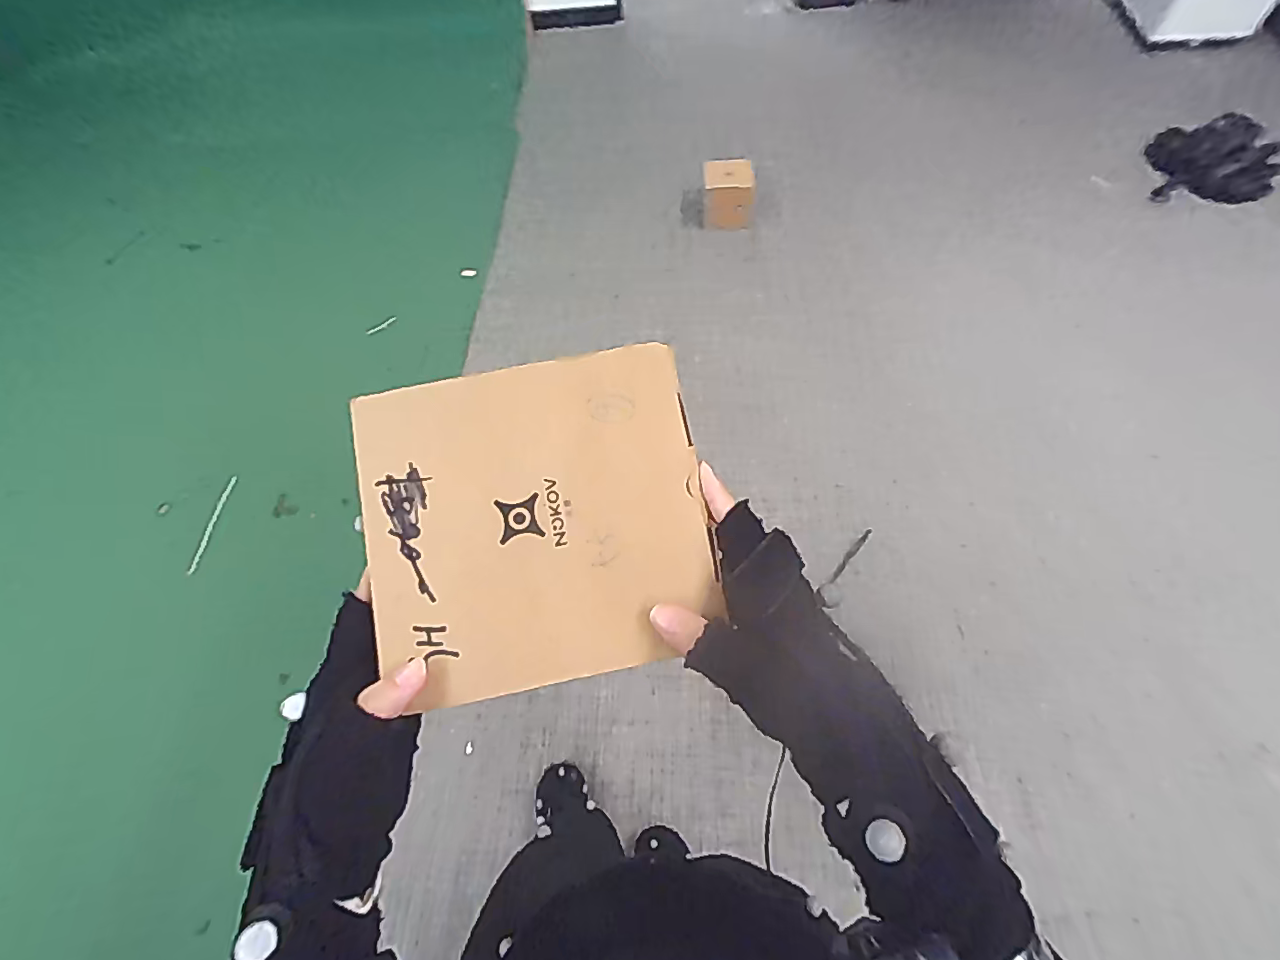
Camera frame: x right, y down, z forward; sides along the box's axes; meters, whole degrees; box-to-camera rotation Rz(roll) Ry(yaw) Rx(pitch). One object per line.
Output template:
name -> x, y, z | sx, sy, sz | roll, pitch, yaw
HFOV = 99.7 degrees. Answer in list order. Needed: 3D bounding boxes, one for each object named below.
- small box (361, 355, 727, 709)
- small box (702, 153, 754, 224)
small box -> -0.055, 0.035, 0.363 | 0.179, 0.176, 0.168 | -10, 80, -3
small box -> 0.321, -1.077, 2.004 | 0.179, 0.176, 0.168 | -2, 62, 6
